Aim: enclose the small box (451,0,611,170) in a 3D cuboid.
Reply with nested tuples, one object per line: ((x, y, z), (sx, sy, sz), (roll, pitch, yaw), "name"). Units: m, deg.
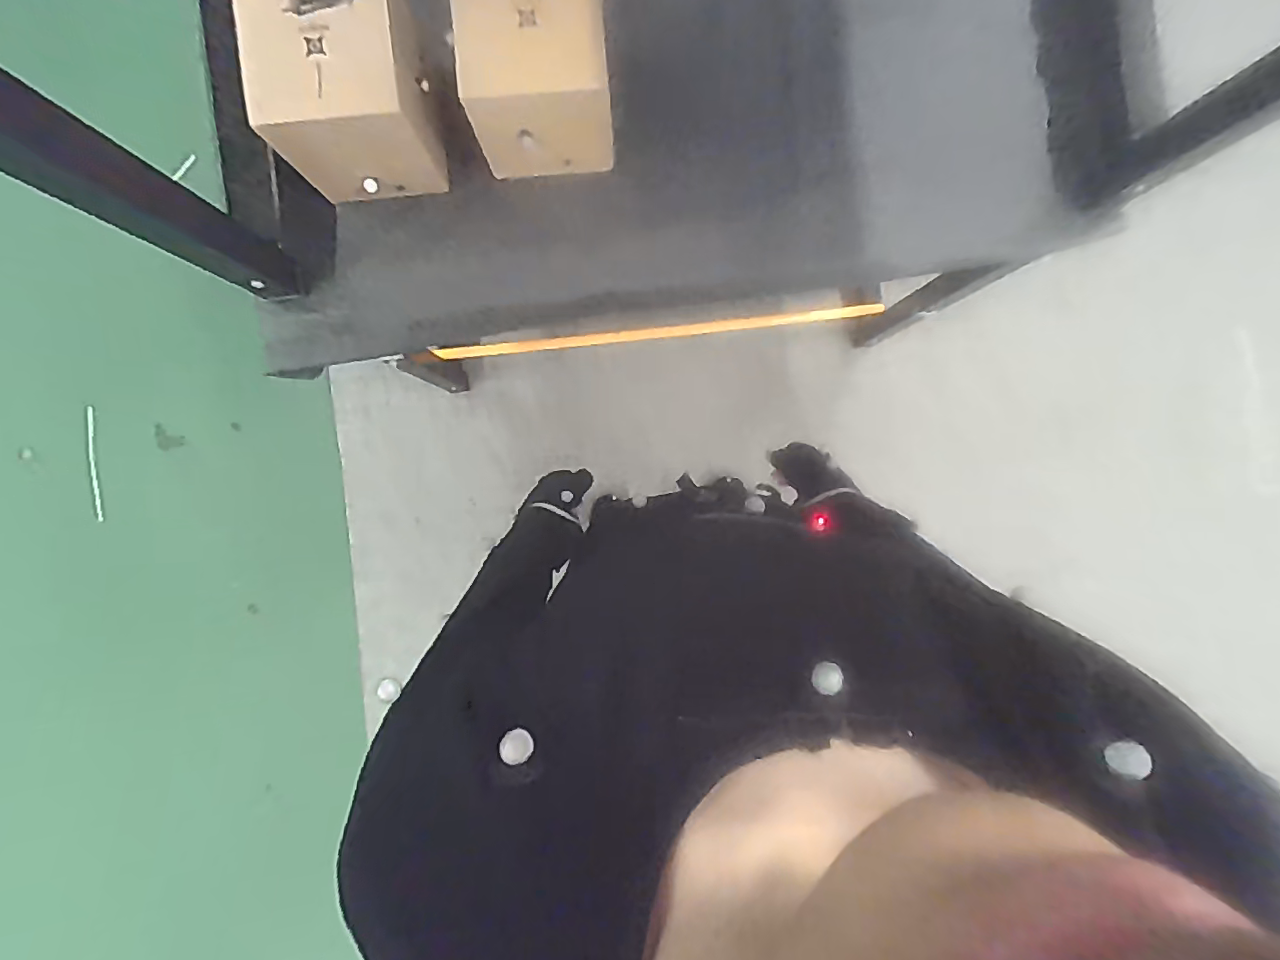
((-0.126, -0.513, 0.673), (0.168, 0.176, 0.179), (-5, 90, -1), "small box")

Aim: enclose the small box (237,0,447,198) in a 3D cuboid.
((-0.351, -0.481, 0.666), (0.168, 0.176, 0.179), (-6, 91, -1), "small box")
